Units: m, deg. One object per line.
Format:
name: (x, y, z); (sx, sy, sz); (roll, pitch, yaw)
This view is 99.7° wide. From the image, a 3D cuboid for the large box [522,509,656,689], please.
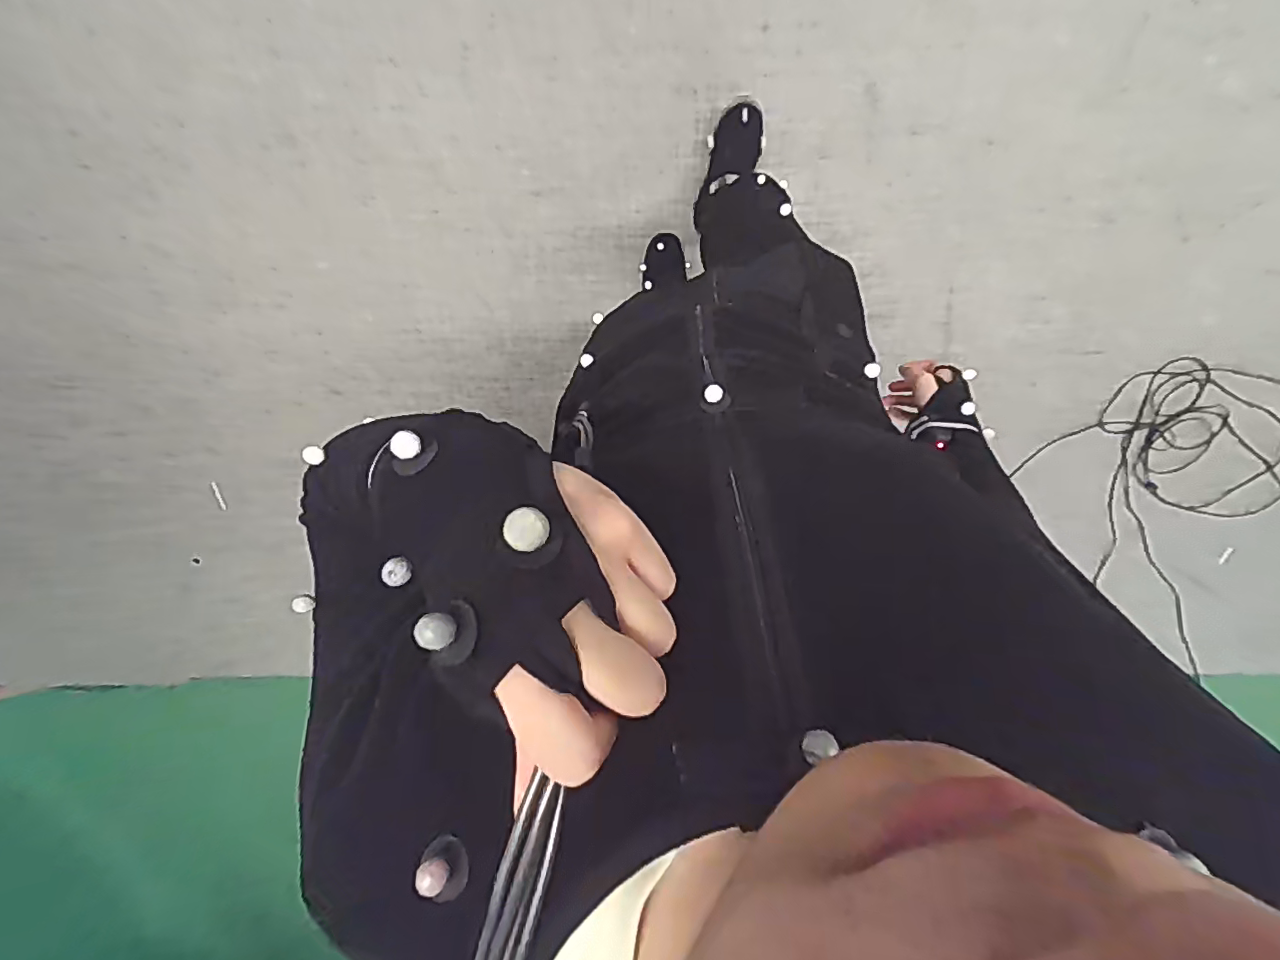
large box: (-0.129, 0.340, 1.579); (0.320, 0.320, 0.408); (-5, 120, 3)
